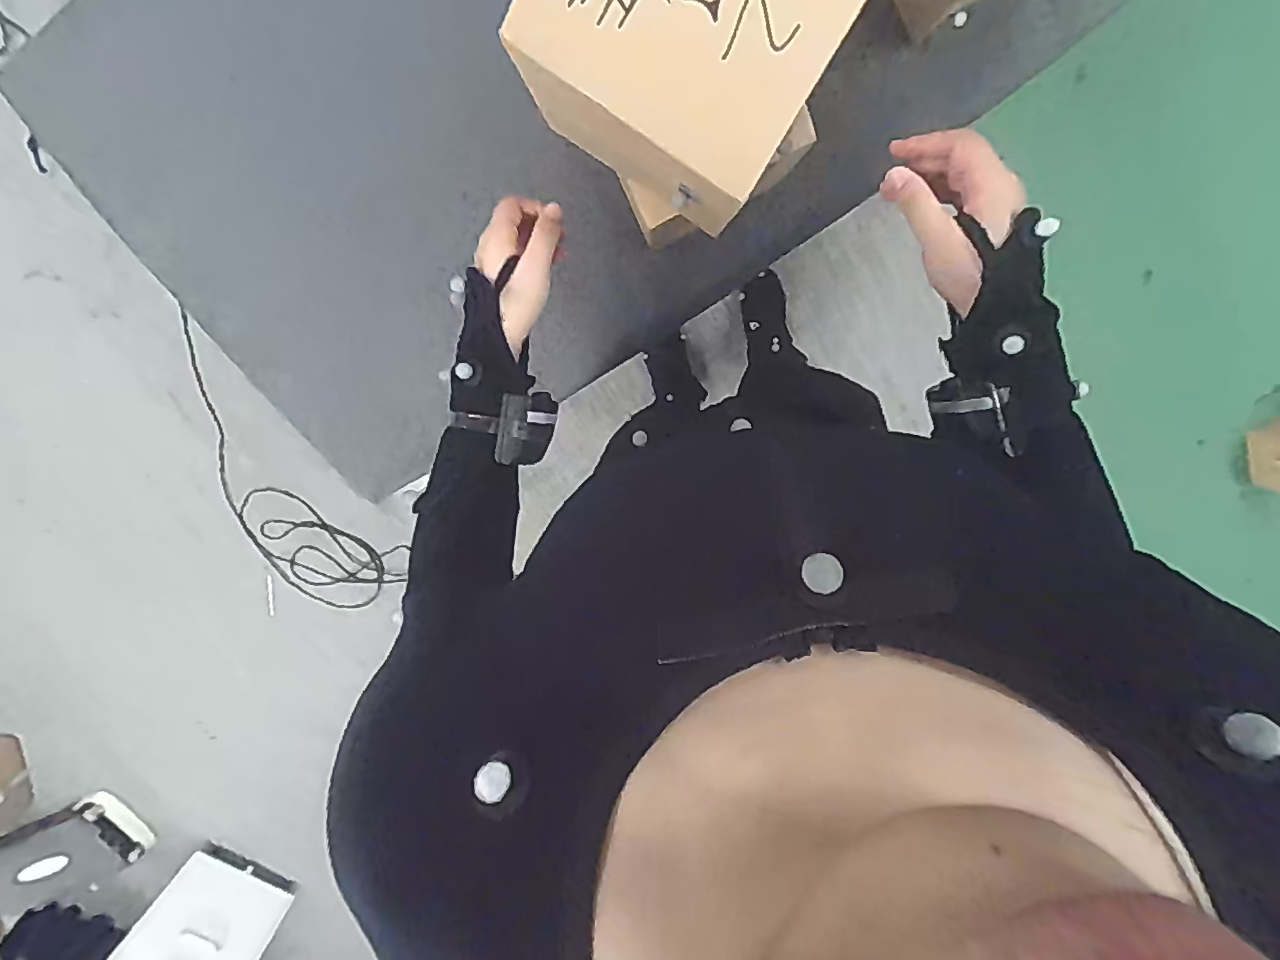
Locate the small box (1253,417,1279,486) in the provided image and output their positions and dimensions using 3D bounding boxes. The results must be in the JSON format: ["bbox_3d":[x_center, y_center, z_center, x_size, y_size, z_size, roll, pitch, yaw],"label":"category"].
[{"bbox_3d":[1.723,-0.074,1.368,0.179,0.176,0.168,-26,107,9],"label":"small box"}]

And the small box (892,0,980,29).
[{"bbox_3d":[0.307,-0.544,0.465,0.168,0.176,0.179,-33,102,12],"label":"small box"}]

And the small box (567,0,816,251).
[{"bbox_3d":[0.048,-0.353,0.539,0.168,0.176,0.179,-24,105,10],"label":"small box"}]
